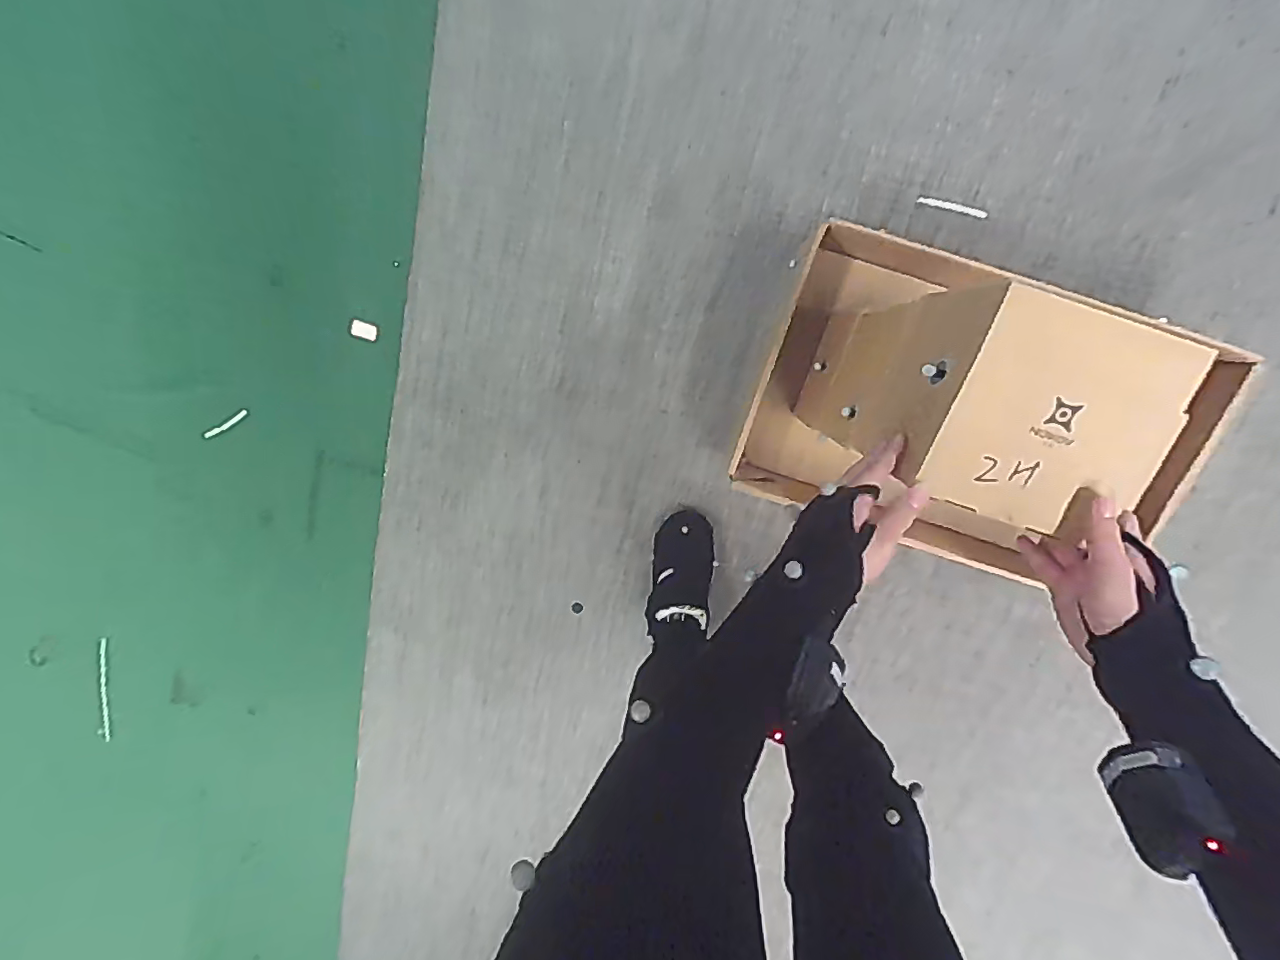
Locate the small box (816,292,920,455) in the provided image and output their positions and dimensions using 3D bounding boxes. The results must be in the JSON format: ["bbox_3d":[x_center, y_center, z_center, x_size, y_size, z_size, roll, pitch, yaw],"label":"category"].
[{"bbox_3d":[0.335,-0.114,0.663,0.168,0.176,0.179,18,106,0],"label":"small box"}]

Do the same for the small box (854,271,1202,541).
[{"bbox_3d":[0.326,-0.074,0.503,0.168,0.176,0.179,19,107,0],"label":"small box"}]
